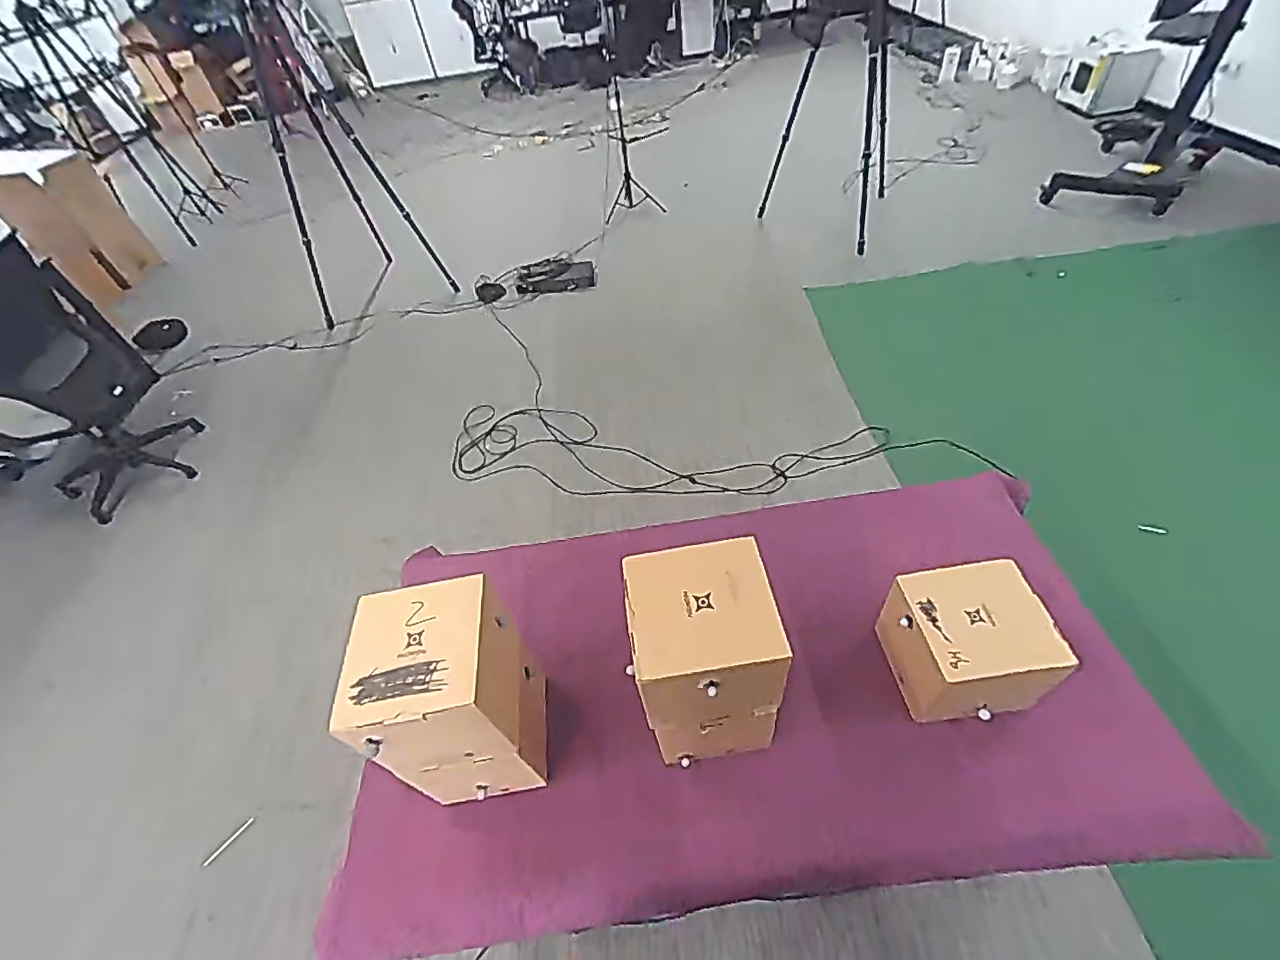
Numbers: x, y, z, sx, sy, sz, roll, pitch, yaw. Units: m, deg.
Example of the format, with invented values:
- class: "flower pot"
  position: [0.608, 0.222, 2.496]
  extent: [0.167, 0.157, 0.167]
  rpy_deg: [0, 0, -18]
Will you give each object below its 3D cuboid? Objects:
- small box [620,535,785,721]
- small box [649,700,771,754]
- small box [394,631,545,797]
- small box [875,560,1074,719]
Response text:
- class: "small box"
  position: [0.077, 0.196, 0.703]
  extent: [0.179, 0.176, 0.168]
  rpy_deg: [-9, 49, 1]
- class: "small box"
  position: [0.096, 0.302, 0.826]
  extent: [0.168, 0.176, 0.179]
  rpy_deg: [-9, 47, 1]
- class: "small box"
  position: [-0.246, 0.359, 0.828]
  extent: [0.168, 0.176, 0.179]
  rpy_deg: [-10, 48, 0]
- class: "small box"
  position: [0.482, 0.244, 0.815]
  extent: [0.179, 0.176, 0.168]
  rpy_deg: [-8, 47, 2]
